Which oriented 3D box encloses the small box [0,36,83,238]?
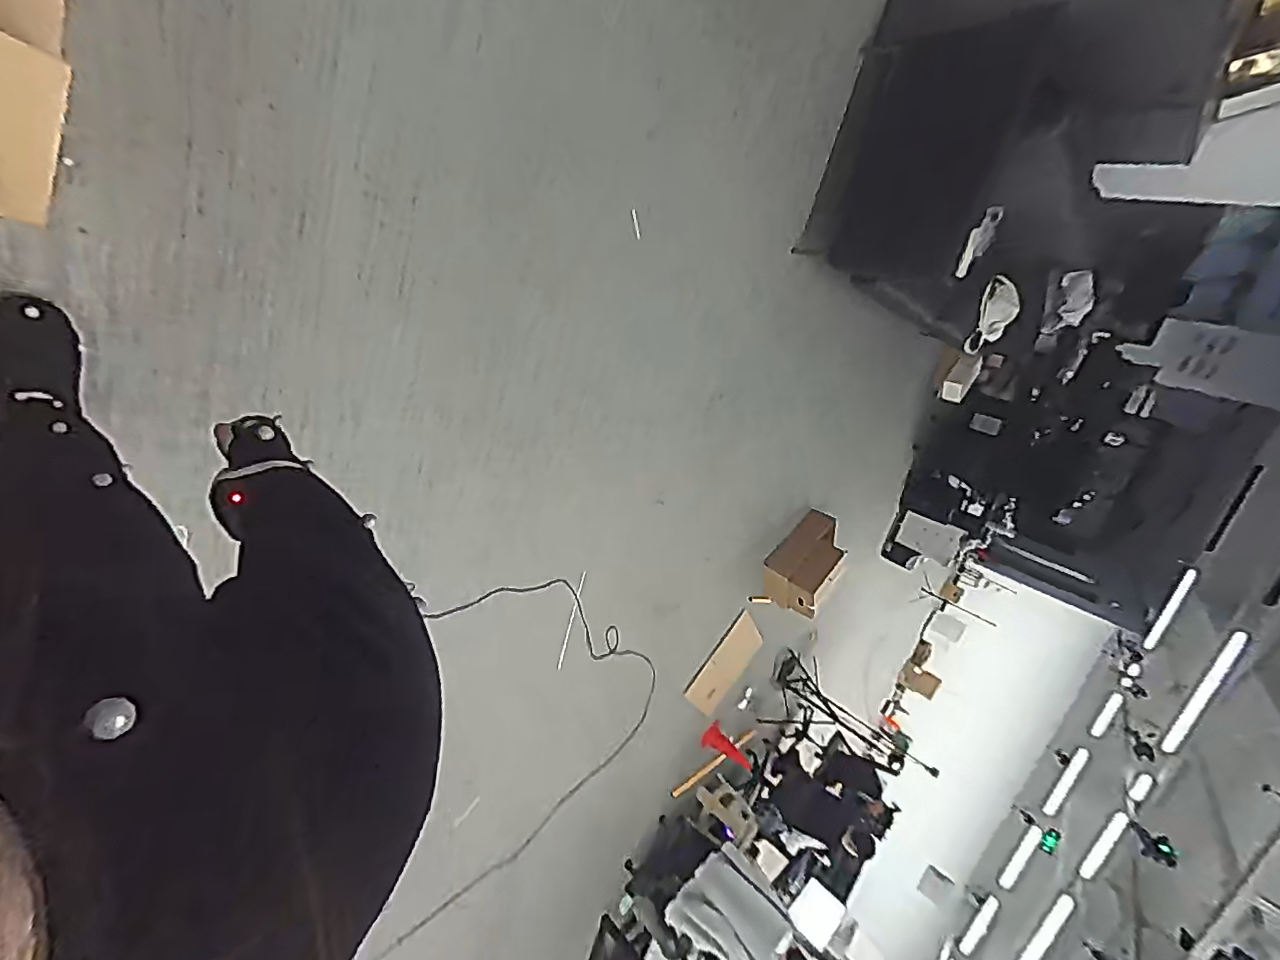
[{"bbox_3d":[-0.717,-0.379,0.562,0.168,0.176,0.179,8,104,-52],"label":"small box"}]
